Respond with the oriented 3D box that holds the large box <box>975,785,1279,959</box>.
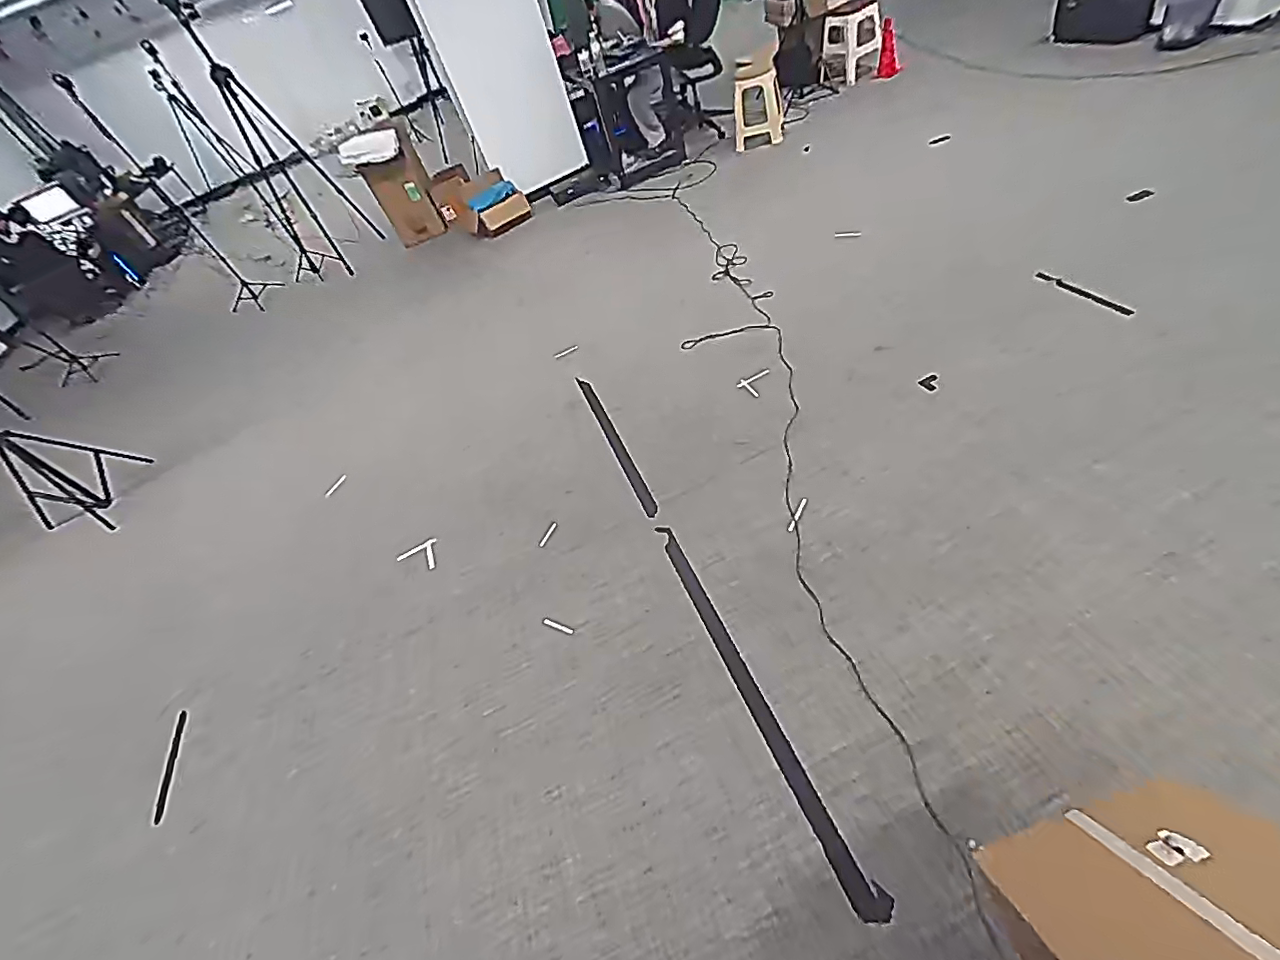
[{"bbox_3d":[0.673,0.614,0.574,0.320,0.408,0.320,-24,80,3],"label":"large box"}]
